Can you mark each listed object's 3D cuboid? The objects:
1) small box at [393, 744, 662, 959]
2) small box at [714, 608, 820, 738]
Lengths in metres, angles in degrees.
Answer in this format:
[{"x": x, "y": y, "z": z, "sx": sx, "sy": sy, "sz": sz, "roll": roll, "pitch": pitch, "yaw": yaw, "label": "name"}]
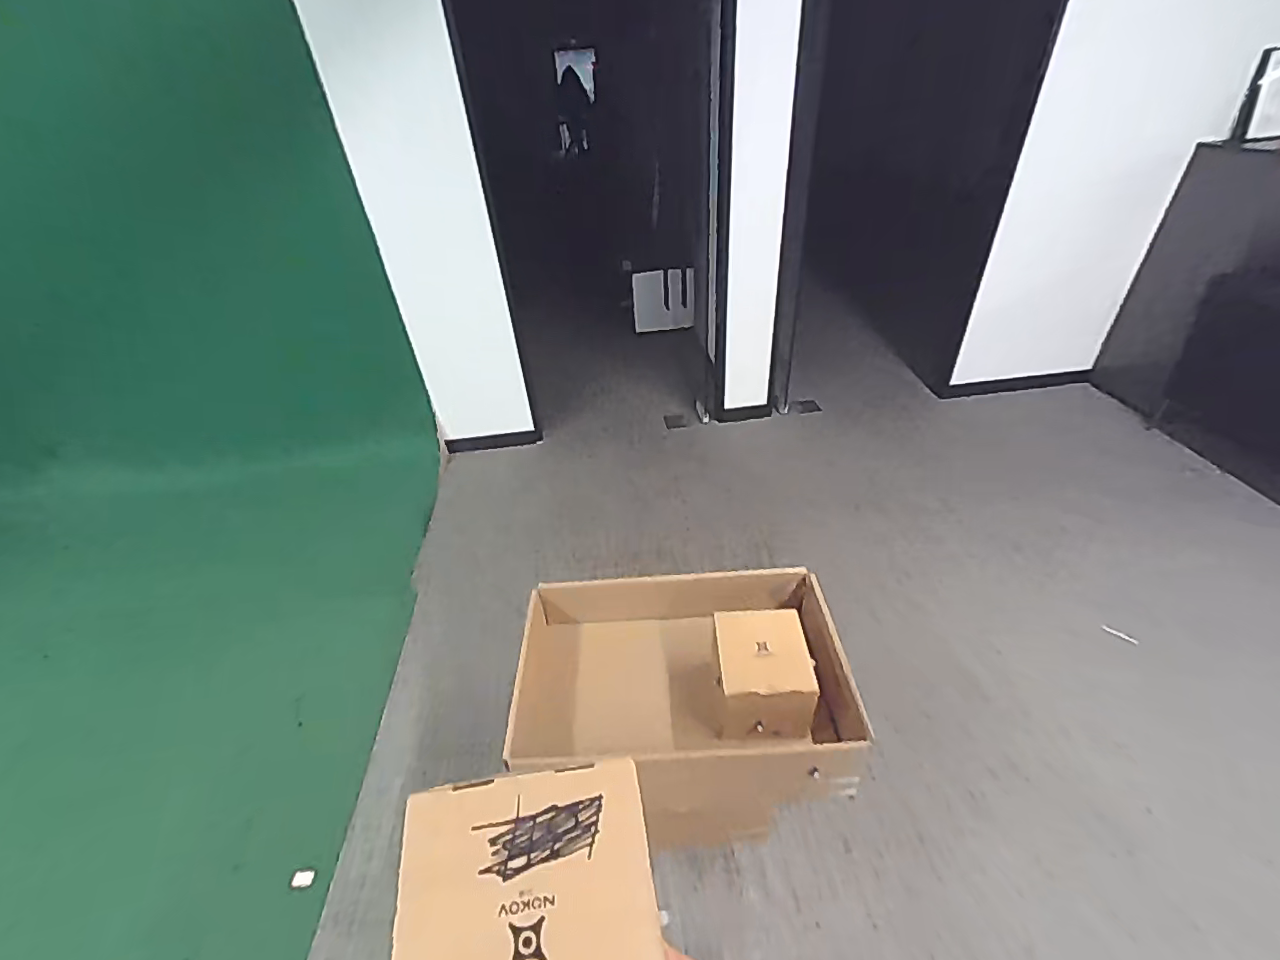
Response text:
[{"x": -0.078, "y": 0.328, "z": 0.411, "sx": 0.168, "sy": 0.176, "sz": 0.179, "roll": -5, "pitch": 49, "yaw": -8, "label": "small box"}, {"x": 0.233, "y": 0.371, "z": 1.043, "sx": 0.168, "sy": 0.176, "sz": 0.179, "roll": -3, "pitch": 38, "yaw": 3, "label": "small box"}]
